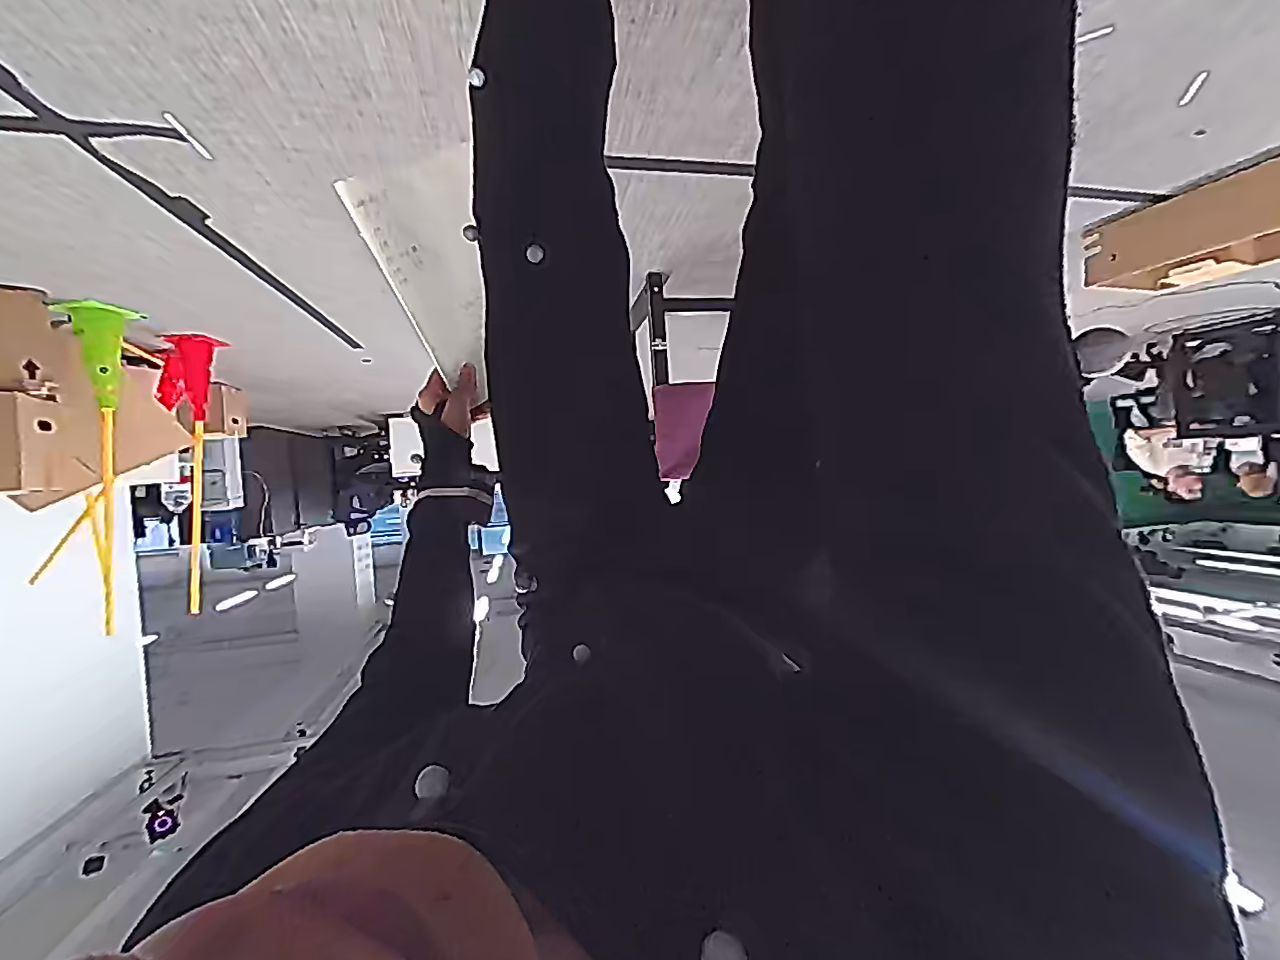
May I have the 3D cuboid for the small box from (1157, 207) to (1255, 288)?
[{"bbox_3d":[1.715,-0.705,1.643,0.179,0.176,0.168,-4,-179,-26],"label":"small box"}]
